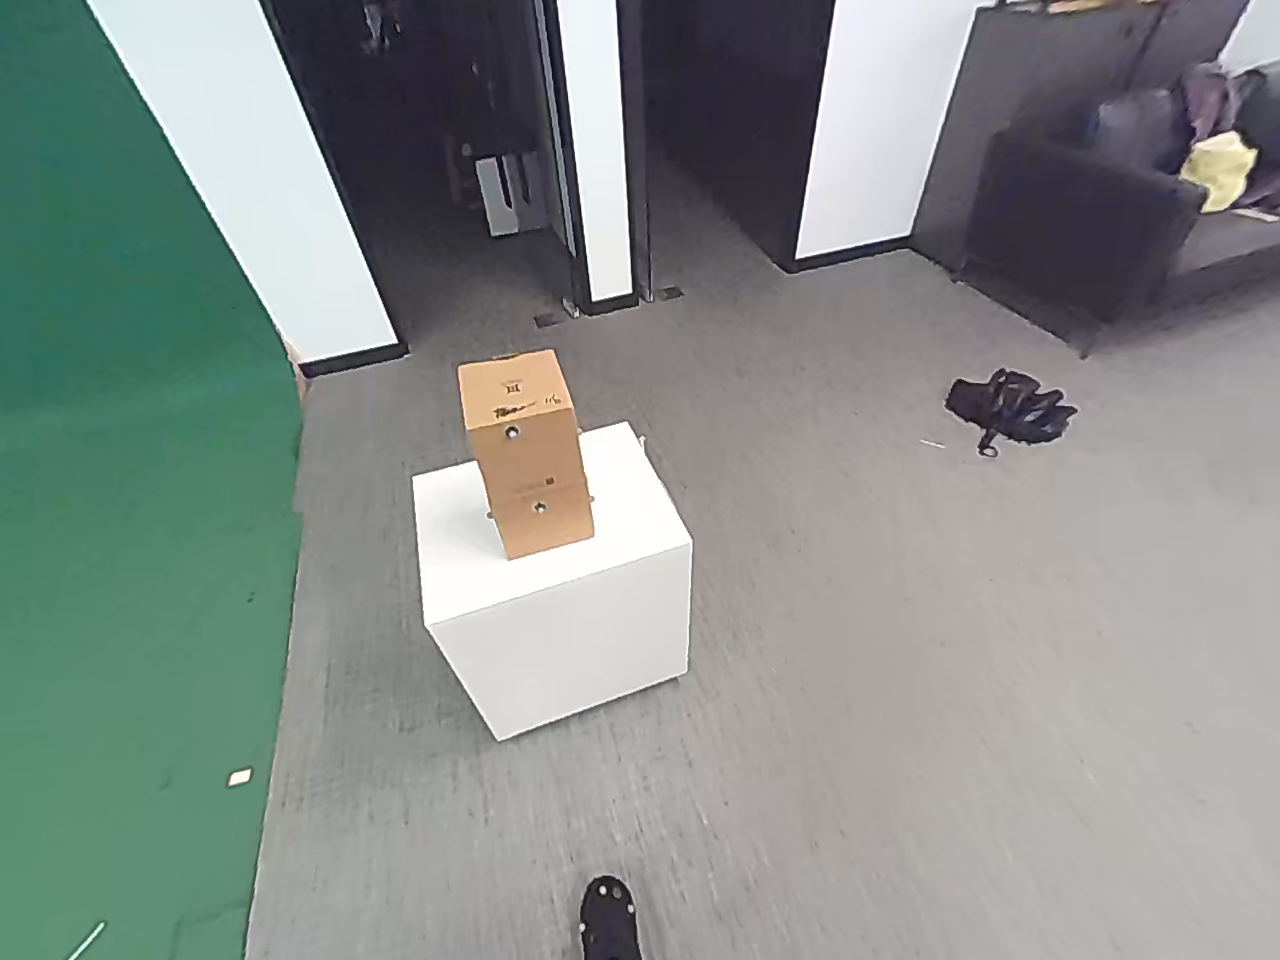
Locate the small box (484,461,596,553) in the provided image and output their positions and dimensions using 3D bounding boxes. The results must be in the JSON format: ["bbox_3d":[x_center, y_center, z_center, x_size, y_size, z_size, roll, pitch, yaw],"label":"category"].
[{"bbox_3d":[-0.193,0.020,1.052,0.179,0.176,0.168,-14,47,-11],"label":"small box"}]

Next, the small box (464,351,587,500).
[{"bbox_3d":[-0.196,-0.095,0.938,0.168,0.176,0.179,-15,47,-12],"label":"small box"}]
